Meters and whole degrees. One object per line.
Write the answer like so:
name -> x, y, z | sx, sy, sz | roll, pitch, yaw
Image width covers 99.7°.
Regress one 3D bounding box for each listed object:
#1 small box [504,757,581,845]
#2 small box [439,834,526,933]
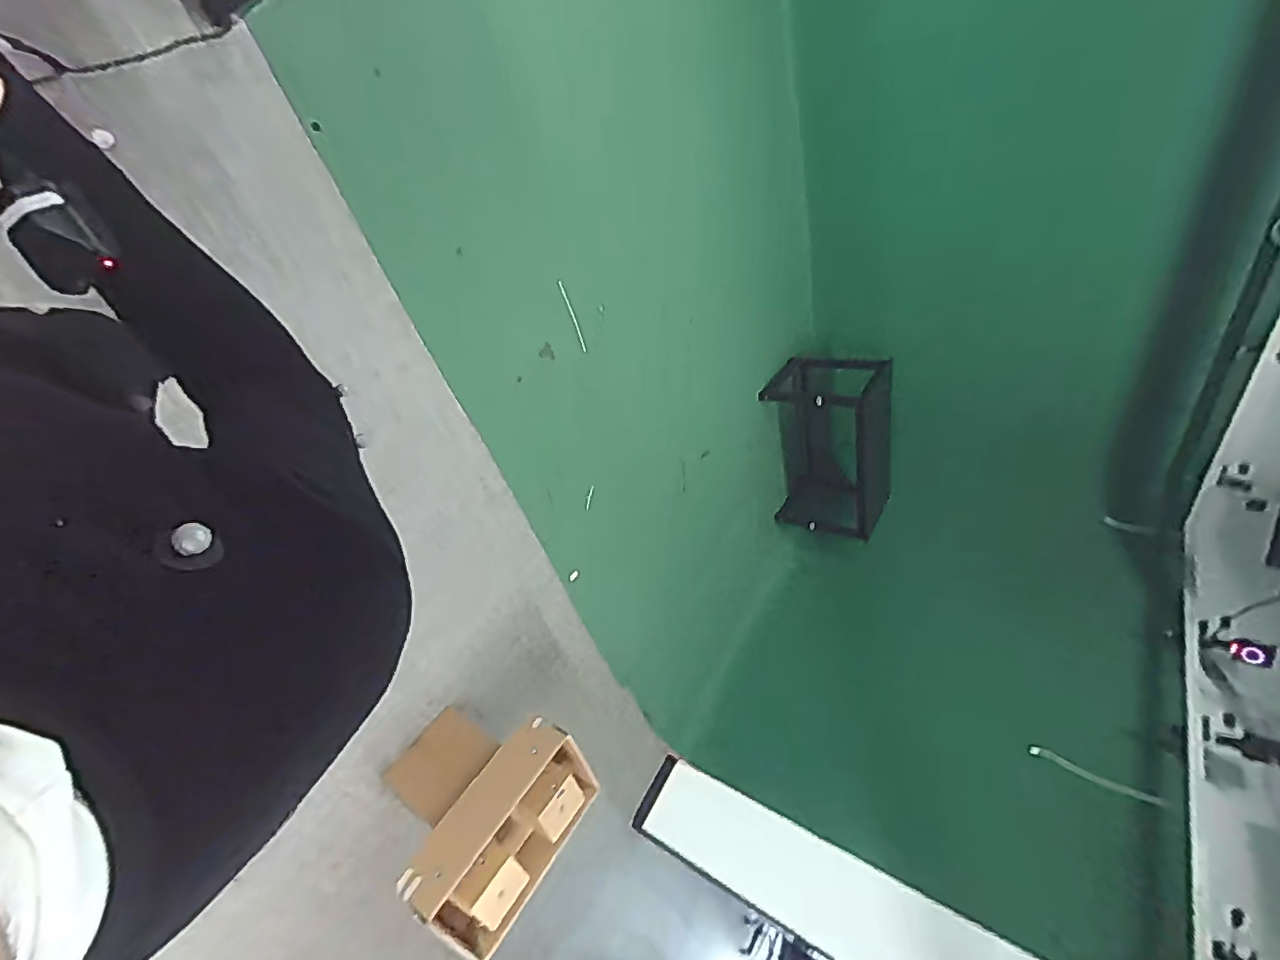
small box -> -0.335, 1.097, 1.862 | 0.168, 0.176, 0.179 | -44, 133, -39
small box -> -0.494, 1.253, 1.693 | 0.168, 0.176, 0.179 | -46, 134, -37
